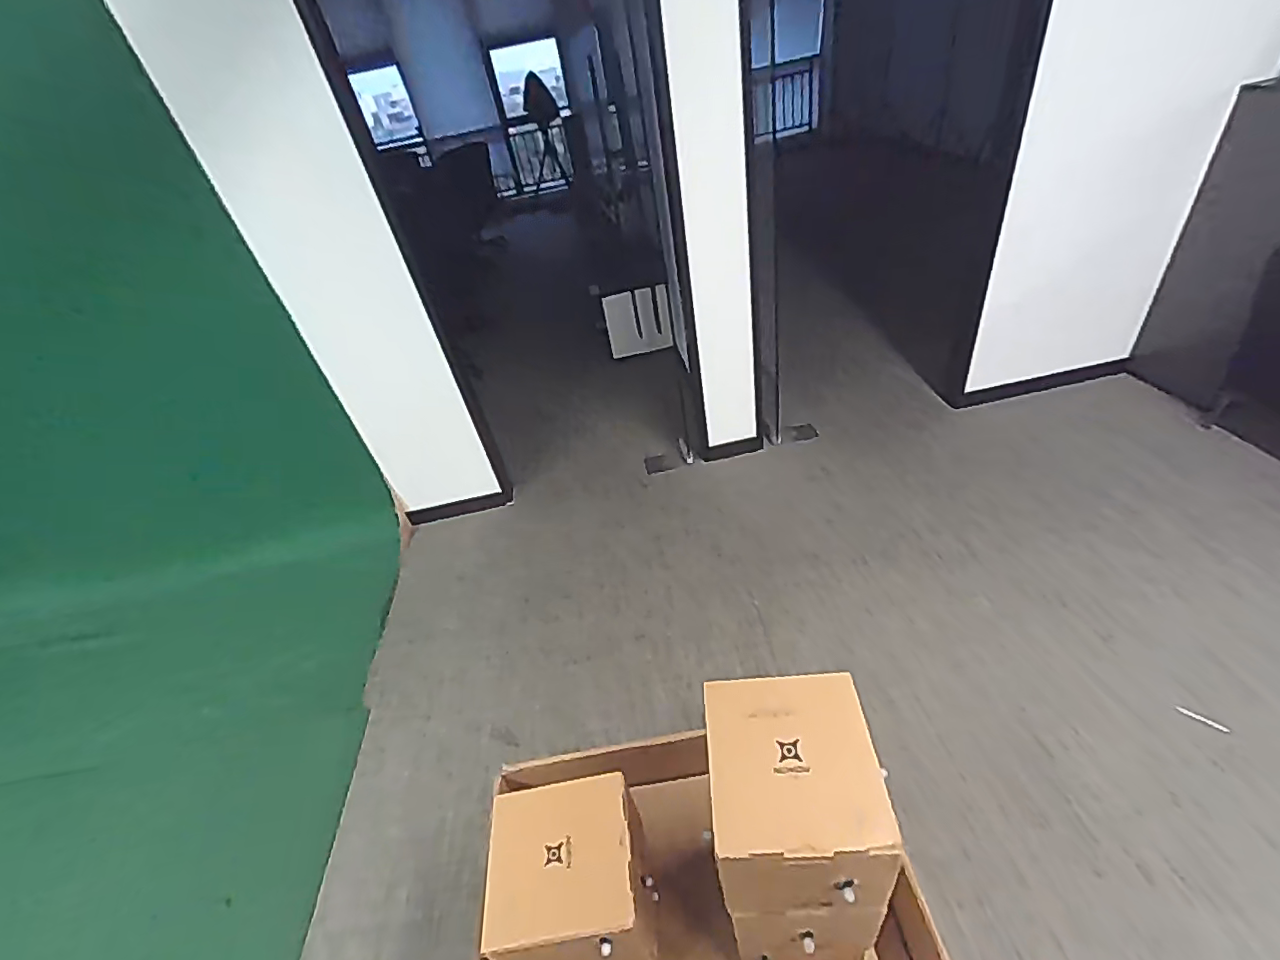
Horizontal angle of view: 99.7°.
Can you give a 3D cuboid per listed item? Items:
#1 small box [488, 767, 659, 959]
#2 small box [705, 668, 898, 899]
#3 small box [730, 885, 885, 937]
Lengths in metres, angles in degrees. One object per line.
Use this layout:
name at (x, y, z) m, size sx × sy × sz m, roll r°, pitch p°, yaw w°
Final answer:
small box at (-0.081, 0.513, 0.712) m, size 0.179 × 0.176 × 0.168 m, roll -11°, pitch 38°, yaw 1°
small box at (0.165, 0.334, 0.593) m, size 0.168 × 0.176 × 0.179 m, roll -7°, pitch 37°, yaw 8°
small box at (0.197, 0.461, 0.692) m, size 0.168 × 0.176 × 0.179 m, roll -8°, pitch 39°, yaw 7°
